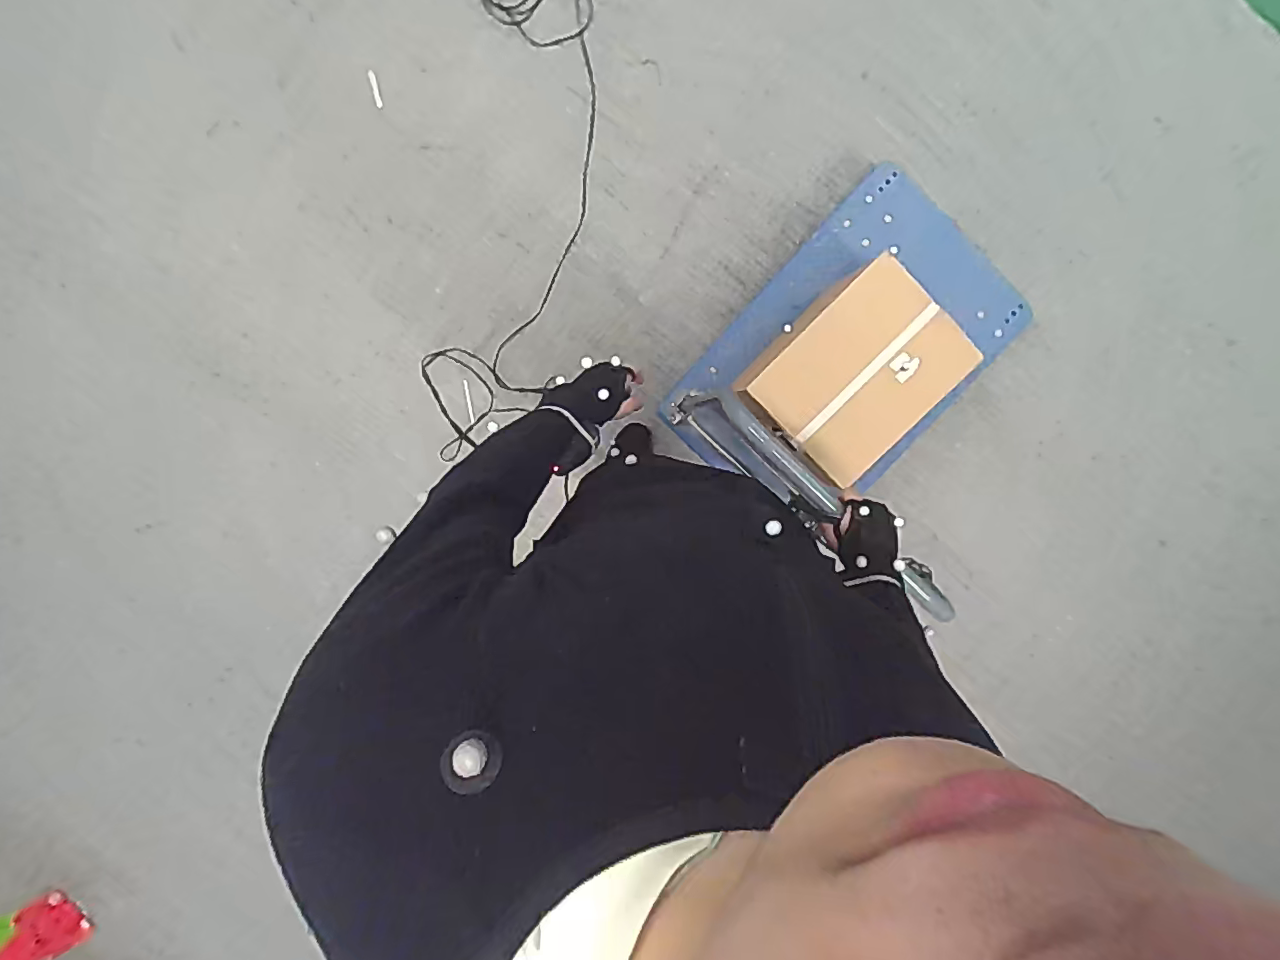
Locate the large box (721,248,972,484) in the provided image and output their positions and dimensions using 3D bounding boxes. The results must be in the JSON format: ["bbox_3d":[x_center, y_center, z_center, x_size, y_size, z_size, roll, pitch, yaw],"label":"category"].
[{"bbox_3d":[0.456,-0.249,1.286,0.320,0.320,0.408,44,94,-6],"label":"large box"}]
